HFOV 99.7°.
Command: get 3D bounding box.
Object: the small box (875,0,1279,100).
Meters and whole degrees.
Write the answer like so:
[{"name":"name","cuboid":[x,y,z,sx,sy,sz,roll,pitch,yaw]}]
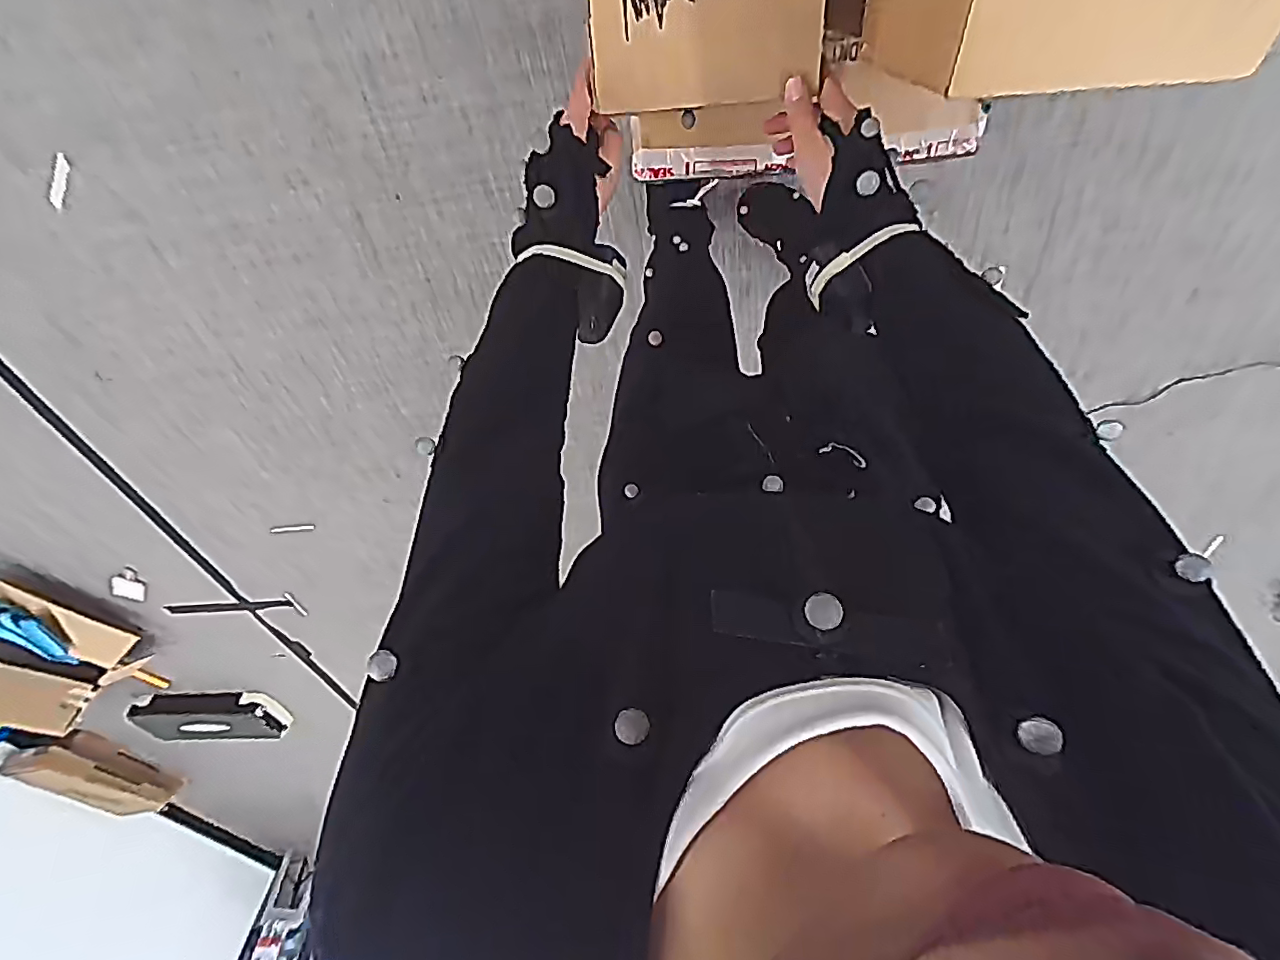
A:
[{"name":"small box","cuboid":[0.249,-0.336,0.302,0.168,0.176,0.179,-3,132,3]}]
